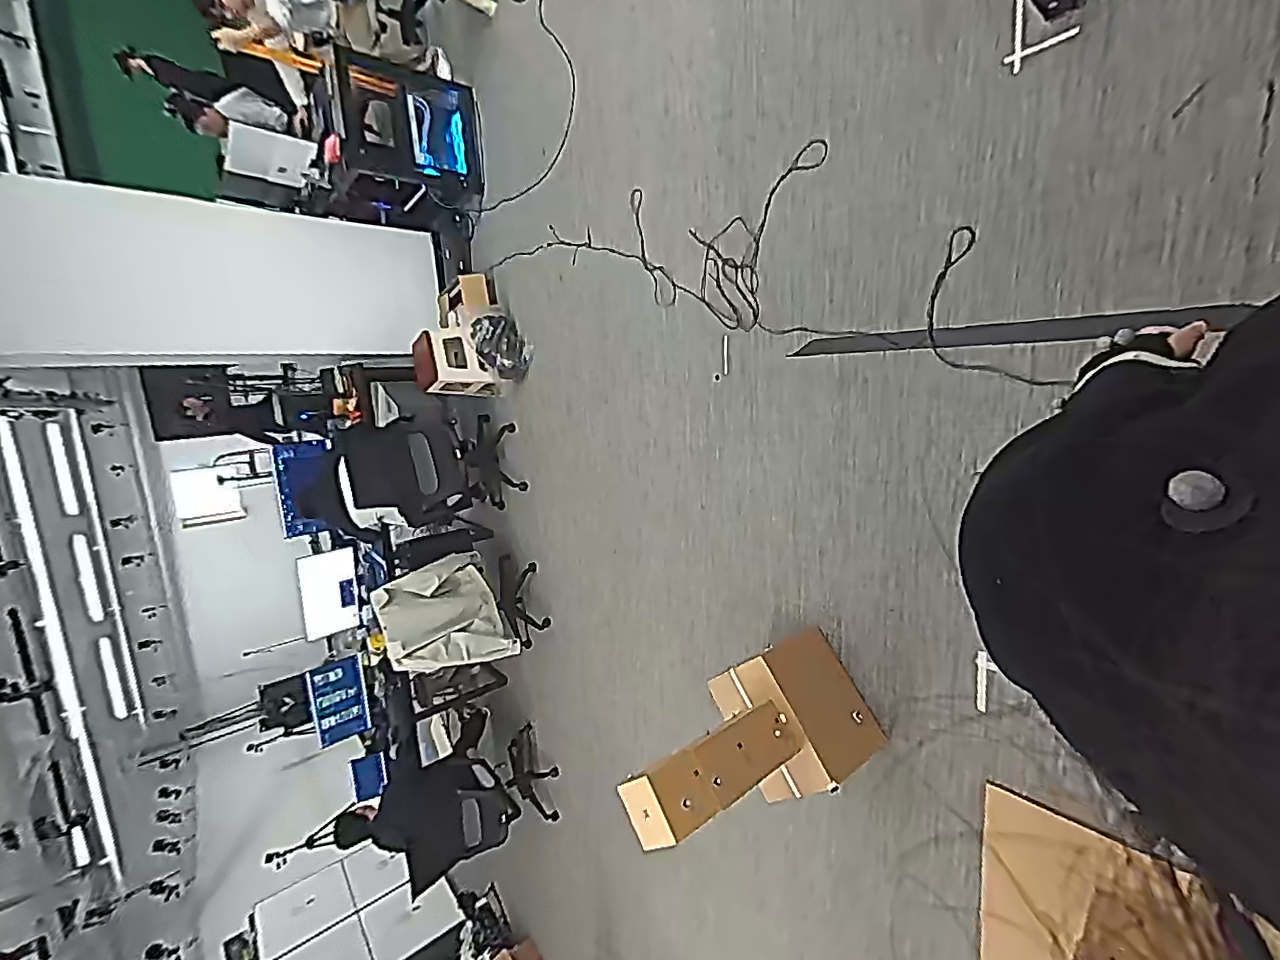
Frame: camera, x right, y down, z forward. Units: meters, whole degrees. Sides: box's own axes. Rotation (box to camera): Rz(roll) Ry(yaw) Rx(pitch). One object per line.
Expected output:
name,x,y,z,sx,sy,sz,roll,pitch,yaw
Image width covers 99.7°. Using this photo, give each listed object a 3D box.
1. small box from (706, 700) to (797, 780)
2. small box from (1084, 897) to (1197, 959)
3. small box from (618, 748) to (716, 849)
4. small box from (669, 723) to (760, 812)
small box,0.333,0.789,1.621,0.179,0.176,0.168,-51,59,44
small box,1.111,1.090,1.195,0.168,0.176,0.179,-5,94,50
small box,0.077,0.833,1.422,0.168,0.176,0.179,61,139,22
small box,0.204,0.814,1.523,0.168,0.176,0.179,61,139,22
